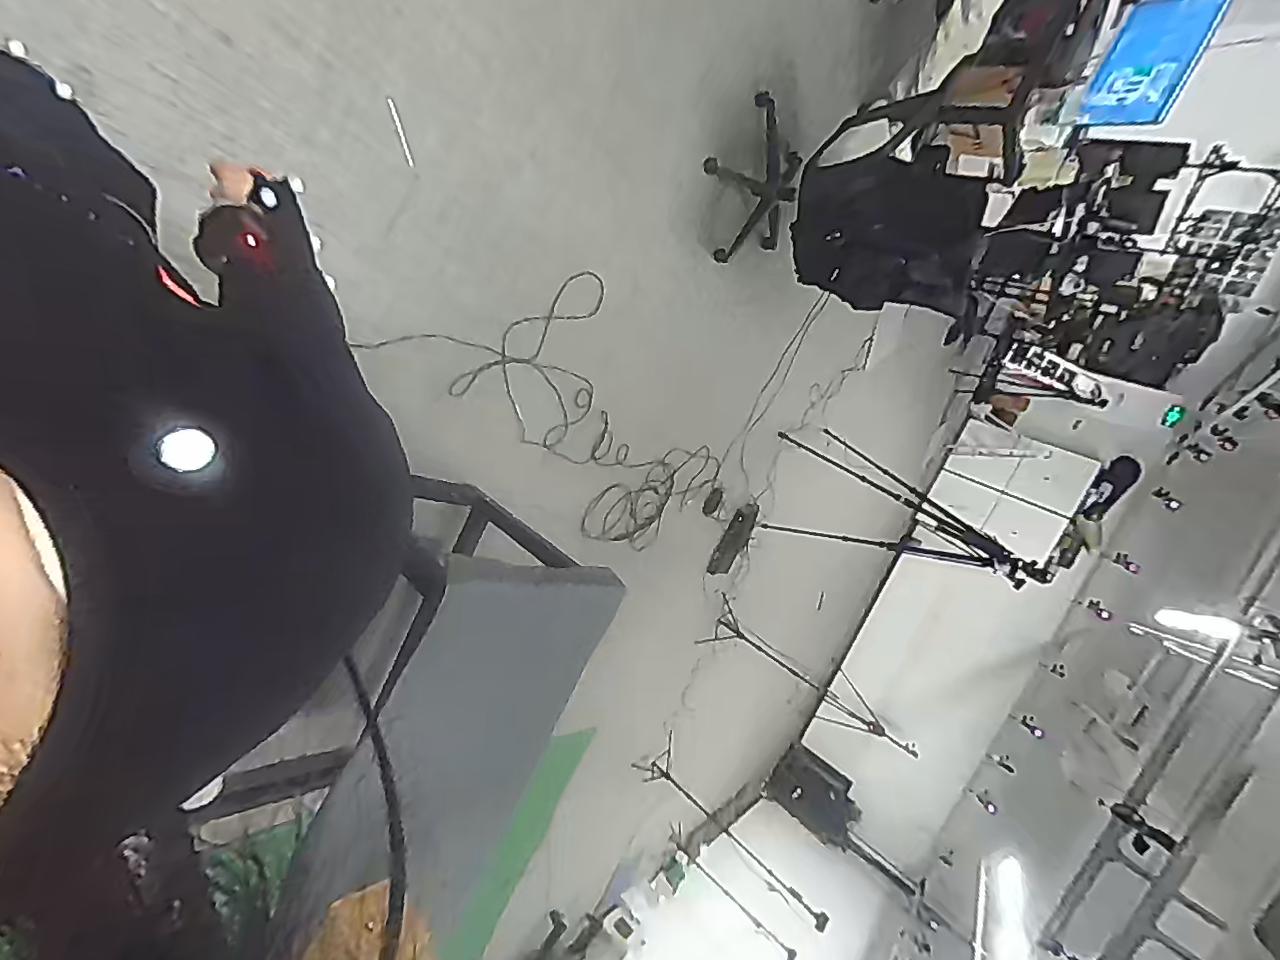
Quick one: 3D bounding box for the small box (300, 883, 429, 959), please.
[{"bbox_3d":[-0.609,1.034,1.186,0.168,0.176,0.179,25,94,-57],"label":"small box"}]
